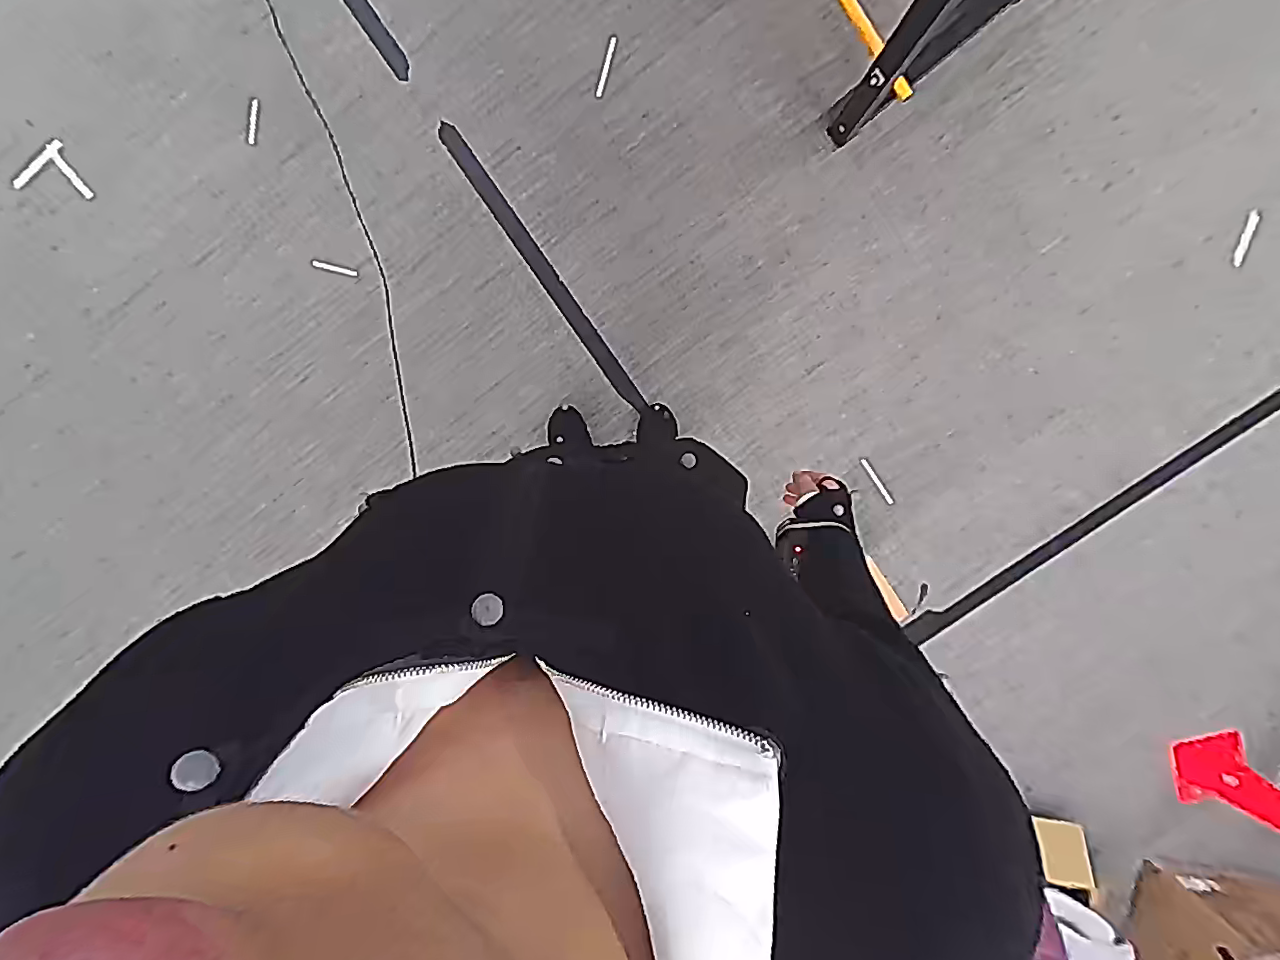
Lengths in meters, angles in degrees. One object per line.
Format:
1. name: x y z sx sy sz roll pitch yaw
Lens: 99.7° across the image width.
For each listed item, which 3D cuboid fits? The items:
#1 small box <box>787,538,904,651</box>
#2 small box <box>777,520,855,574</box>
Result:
1. small box: 0.477 0.262 1.280 0.168 0.176 0.179 -36 95 4
2. small box: 0.483 0.231 1.440 0.179 0.176 0.168 -34 97 5
